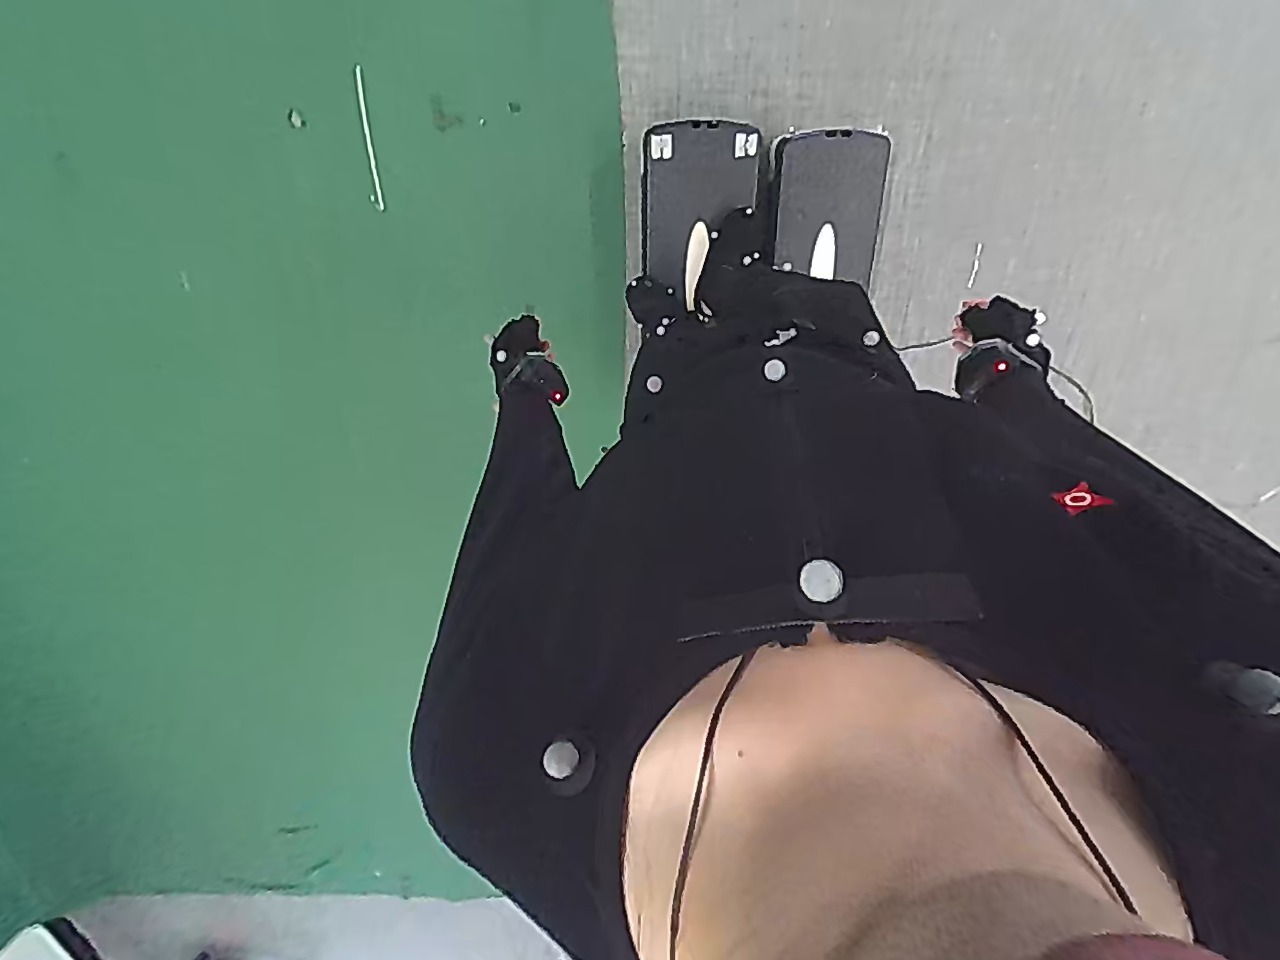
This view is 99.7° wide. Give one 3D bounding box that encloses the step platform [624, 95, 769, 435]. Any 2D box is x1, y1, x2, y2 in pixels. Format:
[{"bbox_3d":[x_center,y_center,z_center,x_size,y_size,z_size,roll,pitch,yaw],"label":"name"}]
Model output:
[{"bbox_3d":[0.112,-0.458,1.247,0.286,0.204,0.684,-1,116,-1],"label":"step platform"}]
